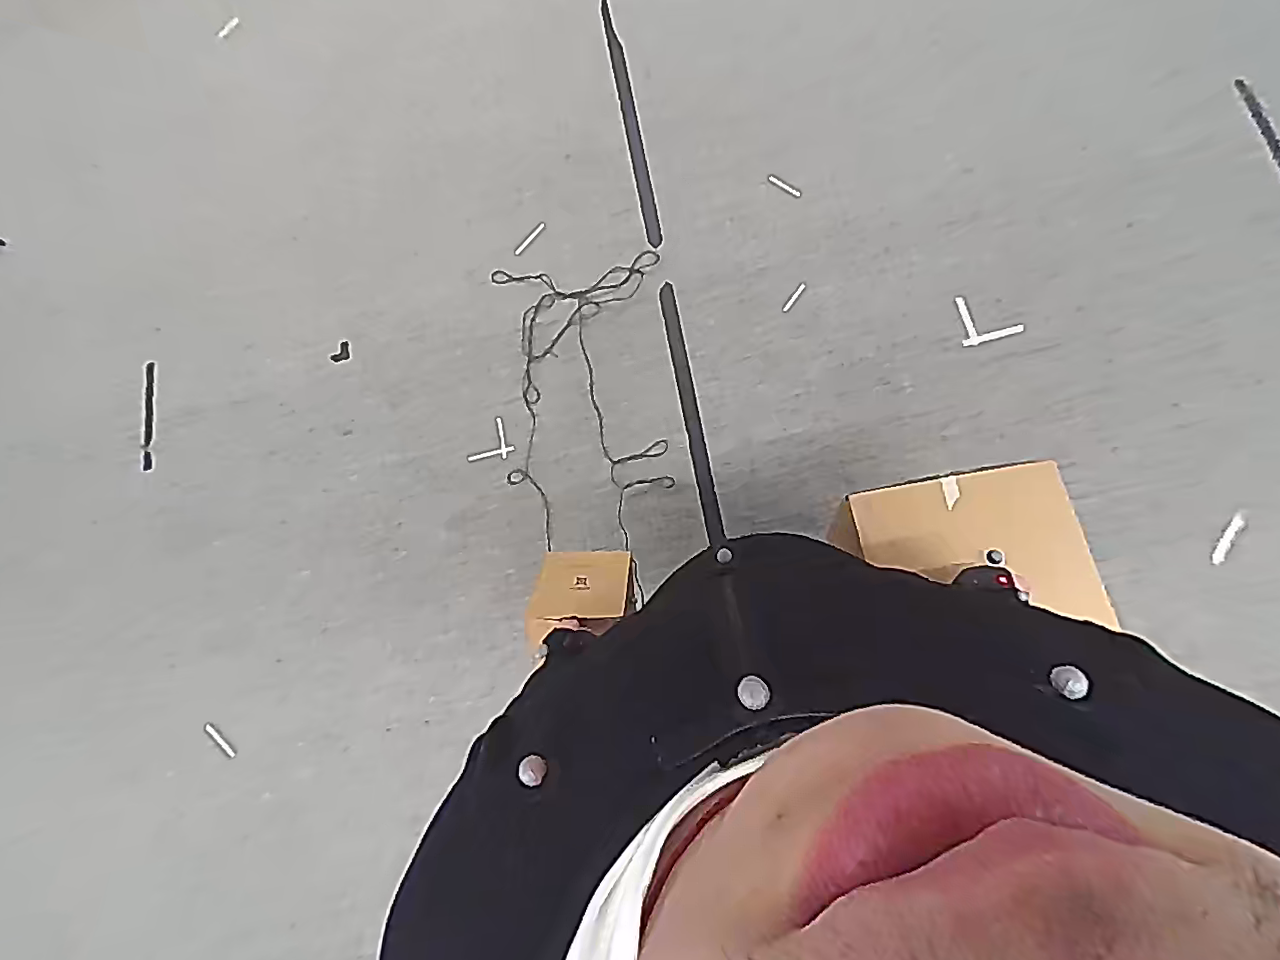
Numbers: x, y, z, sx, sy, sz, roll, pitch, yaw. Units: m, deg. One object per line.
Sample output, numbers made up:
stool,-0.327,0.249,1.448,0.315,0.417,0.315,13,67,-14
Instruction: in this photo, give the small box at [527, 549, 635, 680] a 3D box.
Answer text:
small box,-0.098,0.249,0.998,0.168,0.179,0.176,-1,122,4
